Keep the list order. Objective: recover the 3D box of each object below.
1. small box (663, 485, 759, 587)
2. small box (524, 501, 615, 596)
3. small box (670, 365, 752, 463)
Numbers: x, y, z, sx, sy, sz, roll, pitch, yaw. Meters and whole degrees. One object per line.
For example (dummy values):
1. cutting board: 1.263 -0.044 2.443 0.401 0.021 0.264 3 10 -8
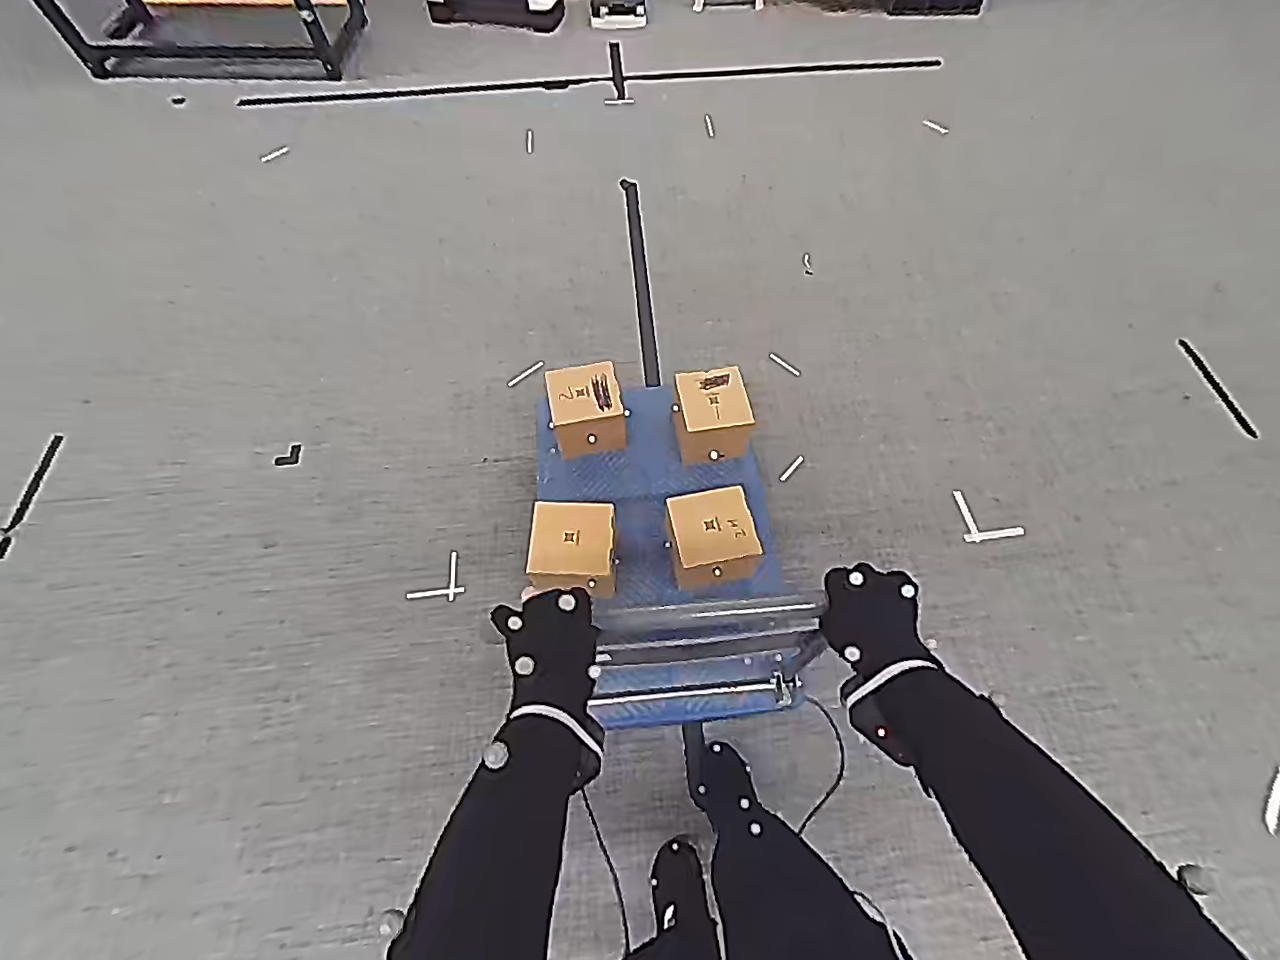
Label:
1. small box: 0.153 0.133 1.228 0.179 0.176 0.168 -10 63 -5
2. small box: -0.151 0.159 1.217 0.179 0.176 0.168 1 62 0
3. small box: 0.174 -0.166 1.384 0.168 0.176 0.179 -8 64 -4
